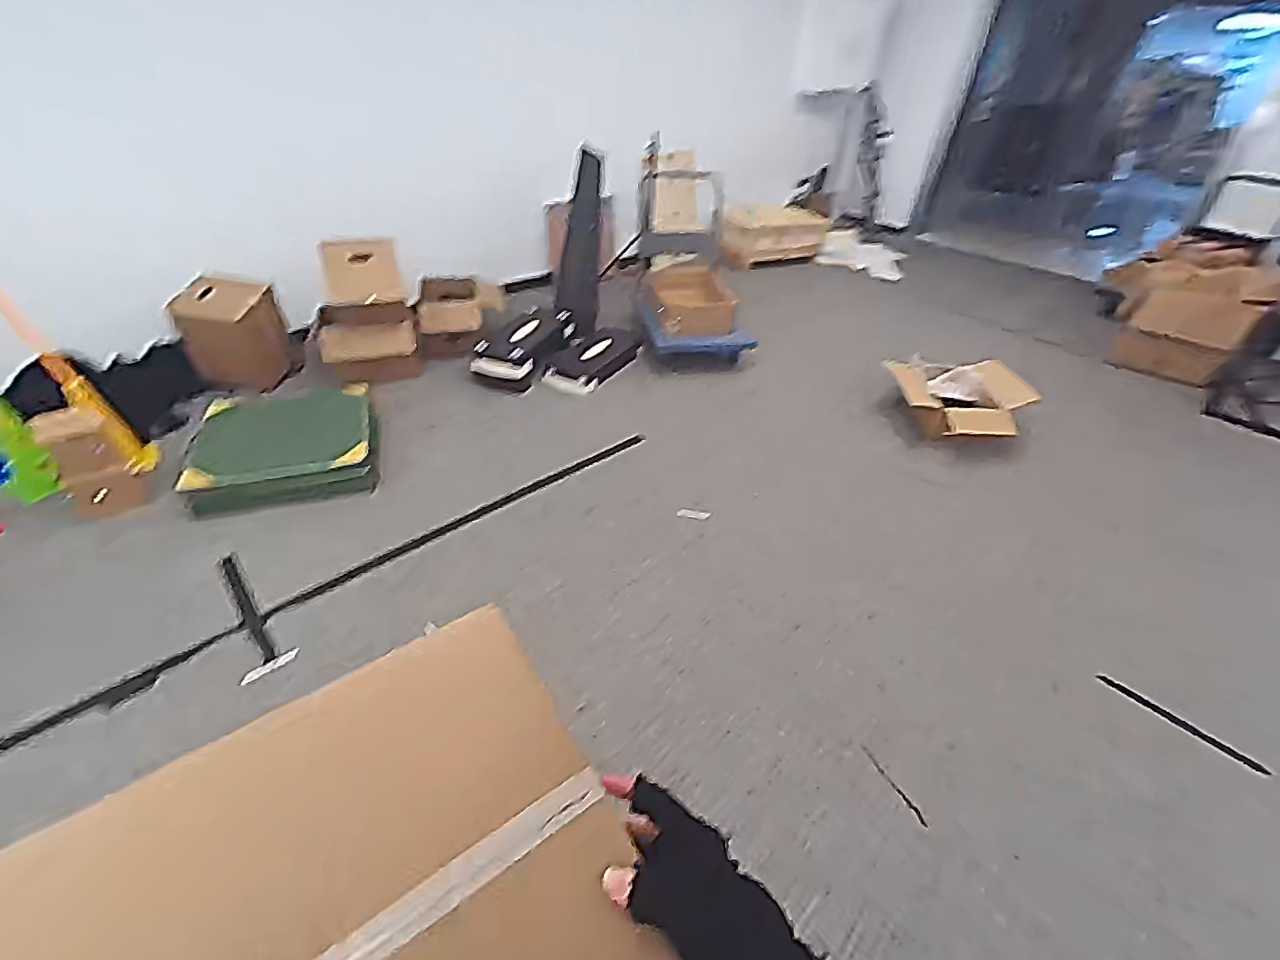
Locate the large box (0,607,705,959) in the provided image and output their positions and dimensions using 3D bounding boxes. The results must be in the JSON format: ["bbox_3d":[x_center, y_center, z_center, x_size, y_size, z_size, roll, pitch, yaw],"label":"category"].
[{"bbox_3d":[-0.208,0.377,0.407,0.408,0.320,0.320,-25,60,-25],"label":"large box"}]
